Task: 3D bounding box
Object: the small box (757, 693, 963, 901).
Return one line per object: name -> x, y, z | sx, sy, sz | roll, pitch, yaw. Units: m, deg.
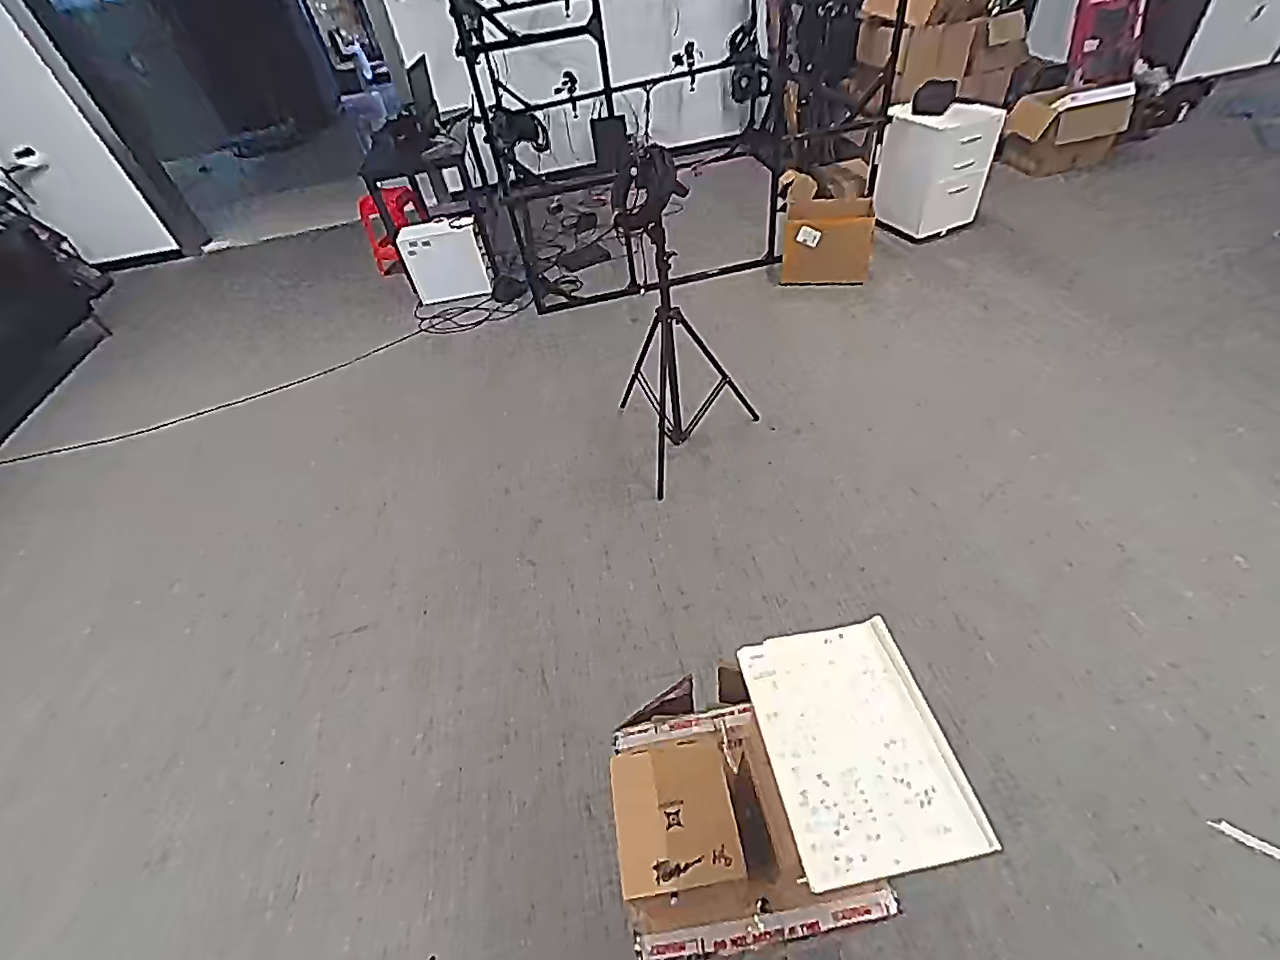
small box -> 0.252, 0.396, 0.677 | 0.168, 0.176, 0.179 | -10, 47, -3
